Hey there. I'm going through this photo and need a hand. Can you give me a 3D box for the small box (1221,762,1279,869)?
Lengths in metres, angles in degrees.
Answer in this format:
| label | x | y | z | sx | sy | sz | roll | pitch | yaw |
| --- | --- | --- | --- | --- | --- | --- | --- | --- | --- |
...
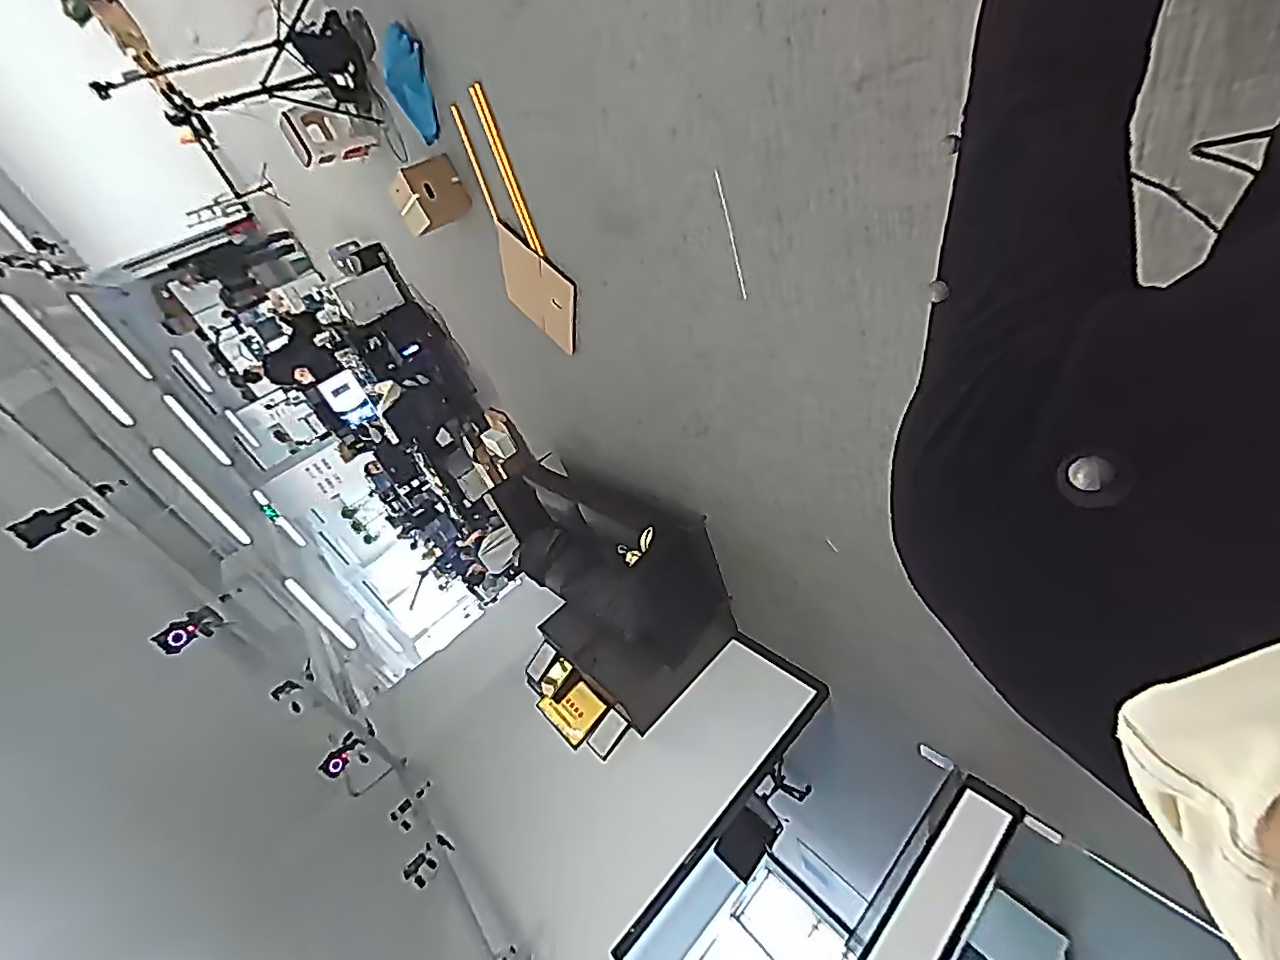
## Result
| label | x | y | z | sx | sy | sz | roll | pitch | yaw |
| --- | --- | --- | --- | --- | --- | --- | --- | --- | --- |
| small box | 1.584 | 0.834 | 1.314 | 0.179 | 0.176 | 0.168 | 25 | 145 | 43 |
